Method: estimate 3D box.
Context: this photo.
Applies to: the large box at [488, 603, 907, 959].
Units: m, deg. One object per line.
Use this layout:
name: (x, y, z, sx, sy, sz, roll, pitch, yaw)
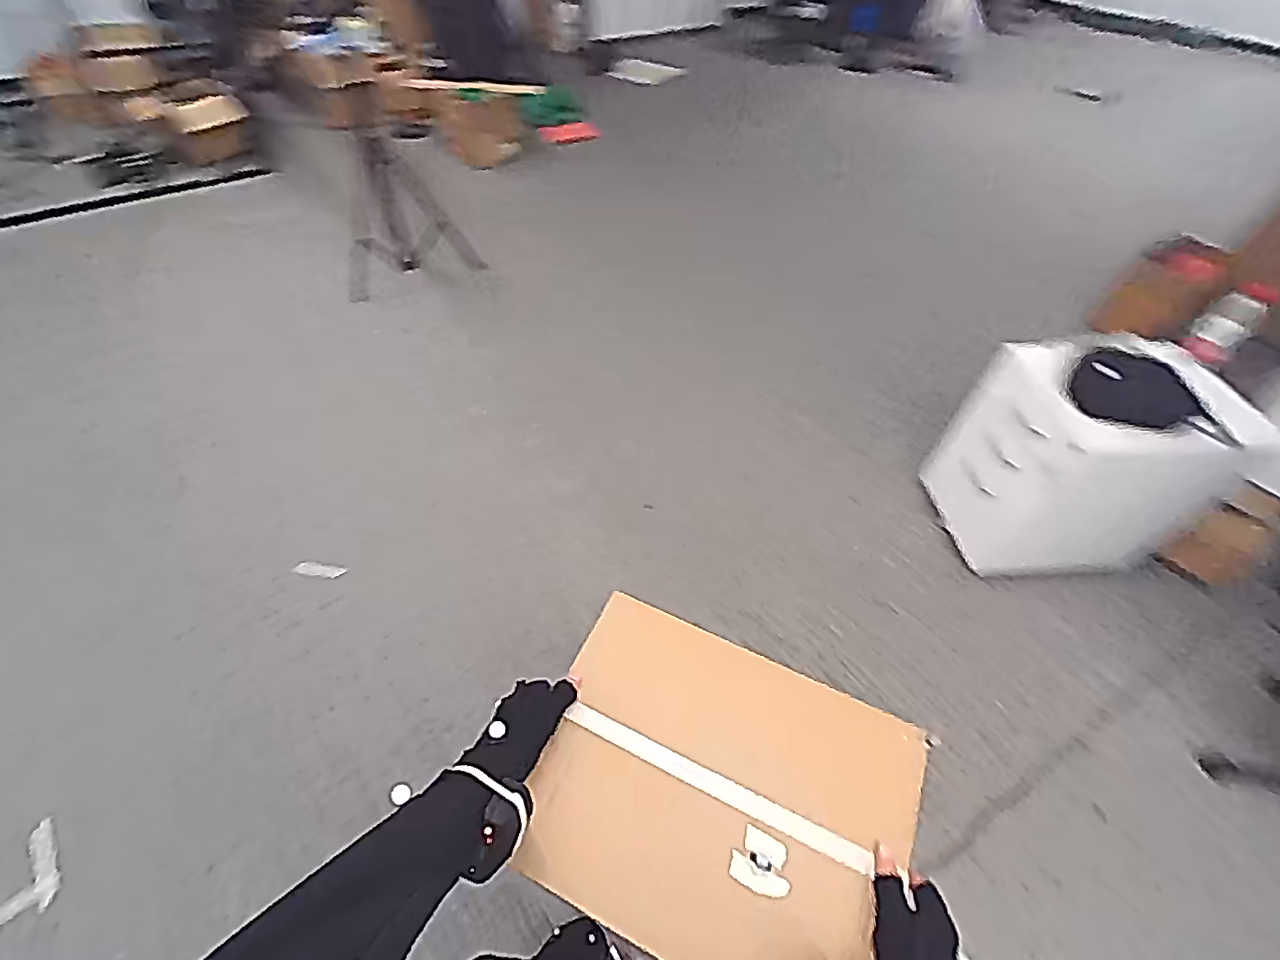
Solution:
large box: (0.073, 0.428, 0.724, 0.408, 0.320, 0.320, 21, 56, 13)
